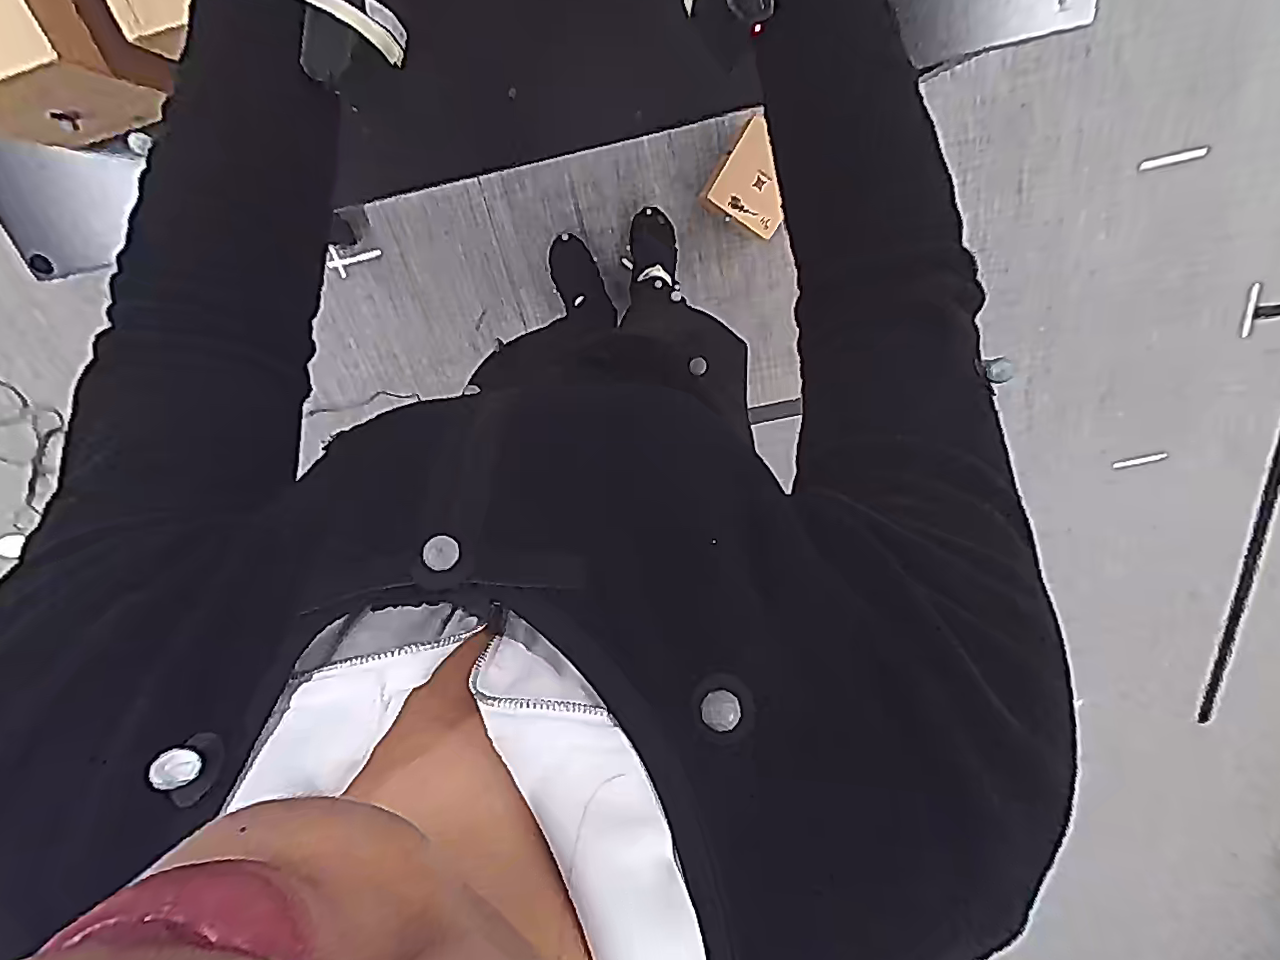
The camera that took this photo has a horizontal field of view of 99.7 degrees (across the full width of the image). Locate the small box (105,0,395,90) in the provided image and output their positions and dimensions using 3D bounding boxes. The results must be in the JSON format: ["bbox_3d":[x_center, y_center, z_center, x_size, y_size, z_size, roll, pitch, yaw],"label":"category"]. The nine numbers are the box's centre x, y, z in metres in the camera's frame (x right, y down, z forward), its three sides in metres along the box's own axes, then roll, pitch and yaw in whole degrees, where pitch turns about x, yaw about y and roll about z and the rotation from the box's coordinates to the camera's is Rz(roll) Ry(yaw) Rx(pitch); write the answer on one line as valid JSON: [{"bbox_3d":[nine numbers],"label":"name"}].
[{"bbox_3d":[-0.341,-0.467,0.454,0.168,0.176,0.179,-12,115,4],"label":"small box"}]

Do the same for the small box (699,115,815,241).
[{"bbox_3d":[0.246,-0.654,1.192,0.168,0.176,0.179,28,110,-14],"label":"small box"}]
